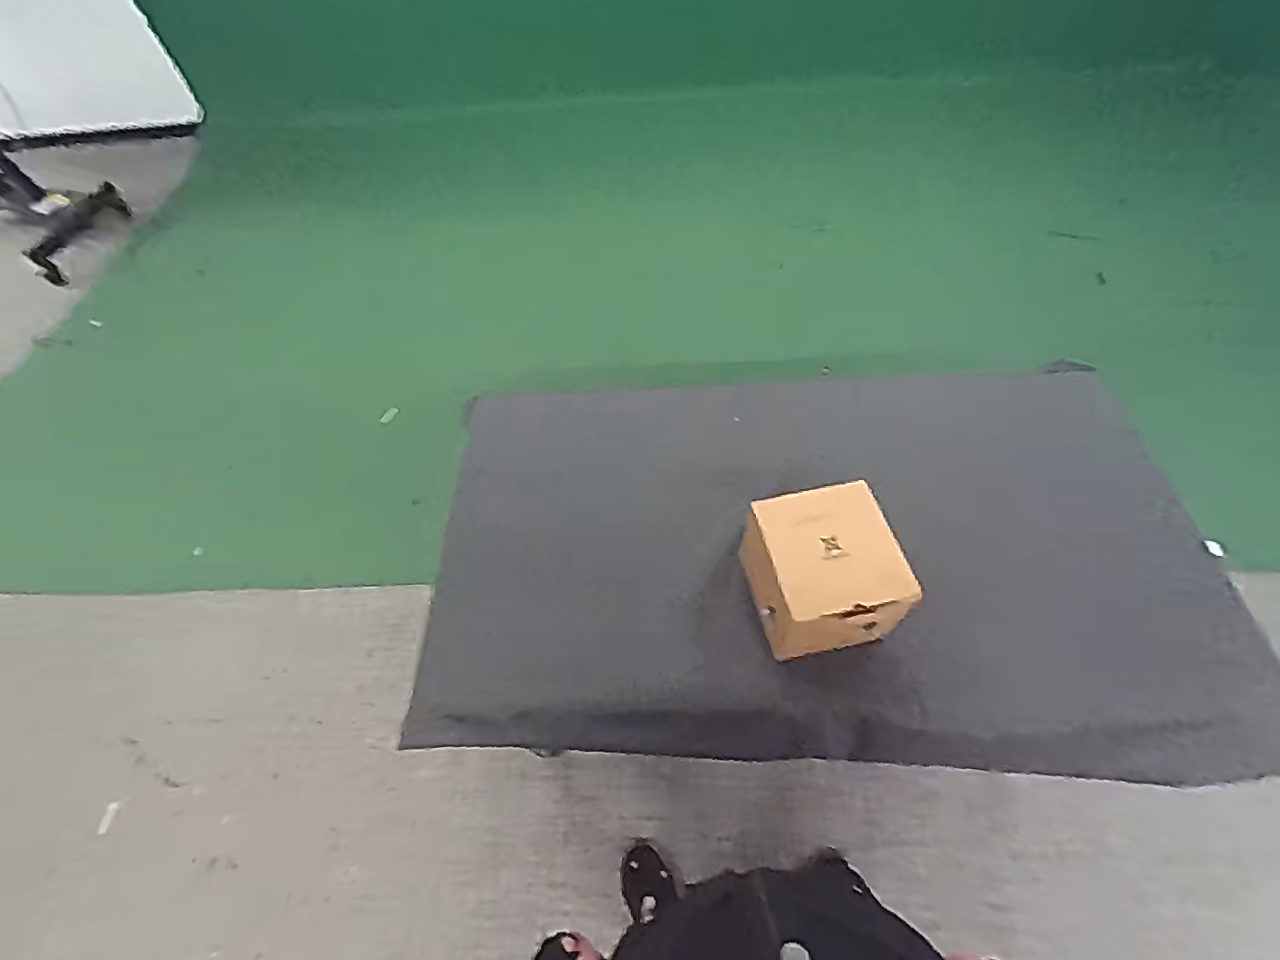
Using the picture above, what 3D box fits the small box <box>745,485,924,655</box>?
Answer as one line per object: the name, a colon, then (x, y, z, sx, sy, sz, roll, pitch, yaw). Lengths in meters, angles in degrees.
small box: (0.259, 0.135, 0.769, 0.168, 0.176, 0.179, -11, 56, -5)
